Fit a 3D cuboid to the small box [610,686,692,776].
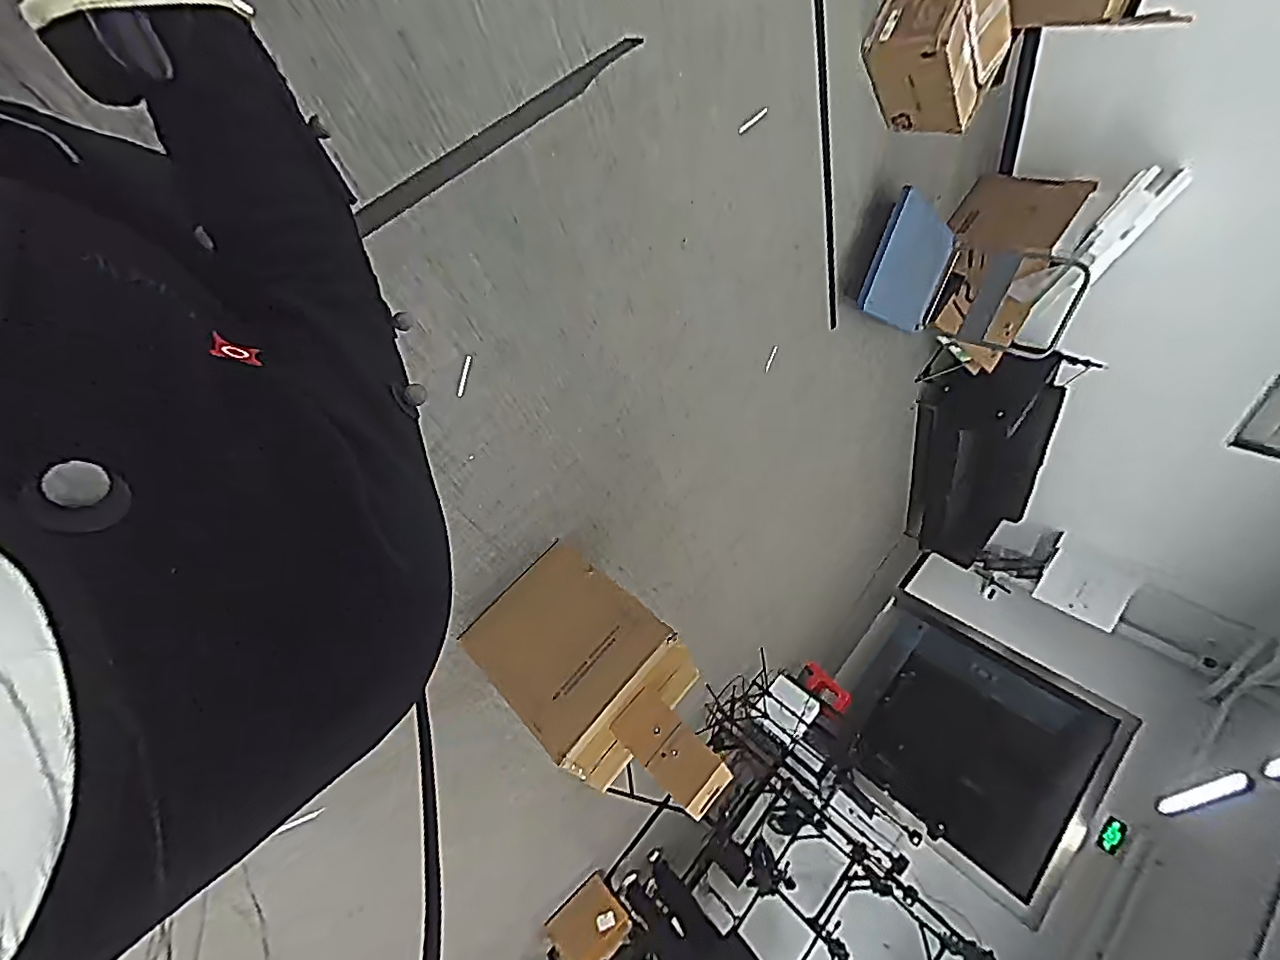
[{"bbox_3d":[0.036,0.789,1.713,0.179,0.176,0.168,-44,140,-18],"label":"small box"}]
